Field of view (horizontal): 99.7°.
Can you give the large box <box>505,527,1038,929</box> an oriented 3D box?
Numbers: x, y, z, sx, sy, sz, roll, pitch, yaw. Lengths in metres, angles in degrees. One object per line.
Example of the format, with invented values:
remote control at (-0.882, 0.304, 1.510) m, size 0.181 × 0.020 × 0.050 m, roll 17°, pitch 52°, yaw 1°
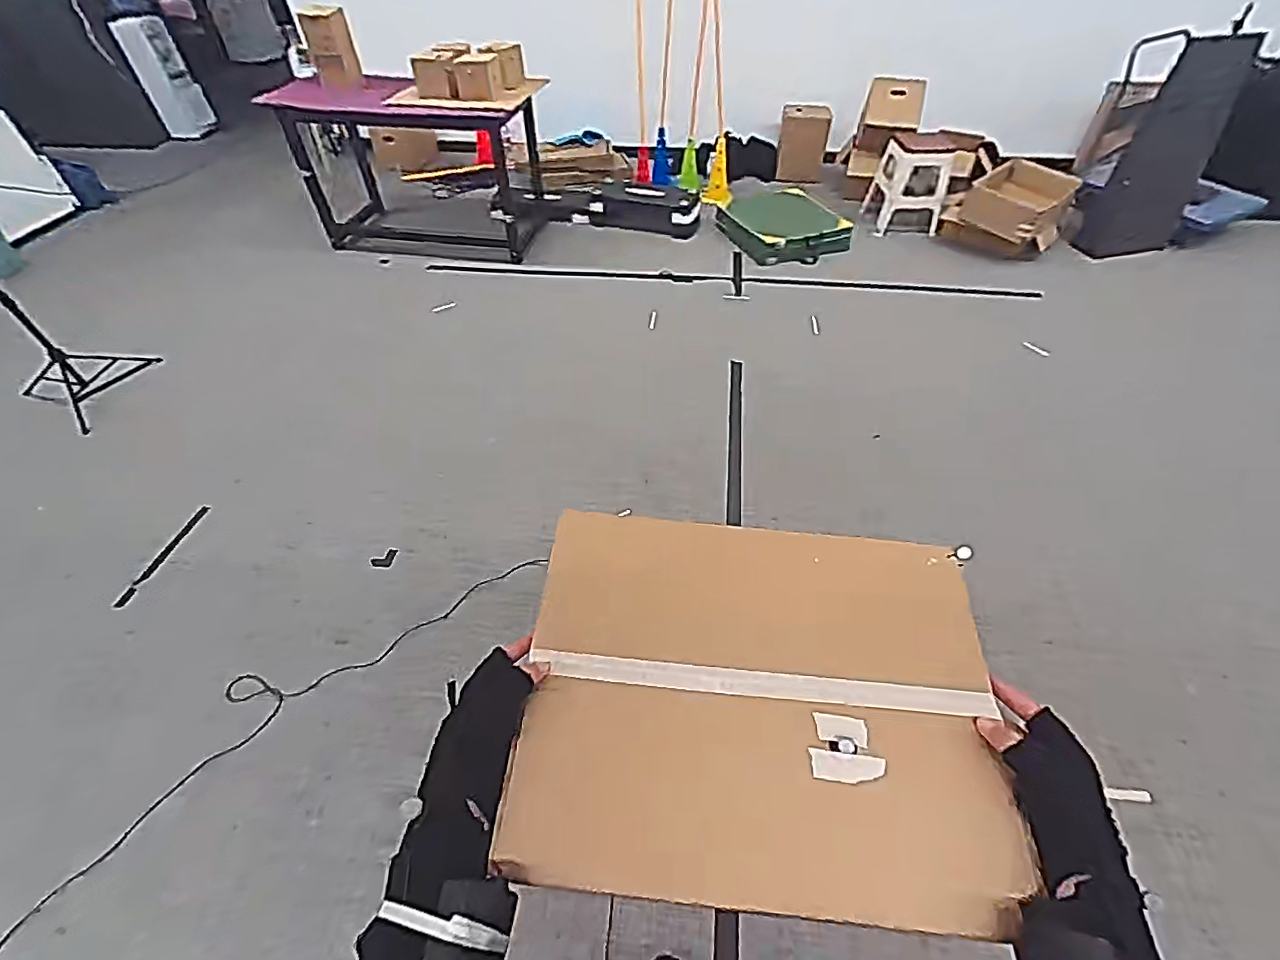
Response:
large box at (0.100, 0.273, 0.603) m, size 0.408 × 0.320 × 0.320 m, roll 5°, pitch 56°, yaw 2°
